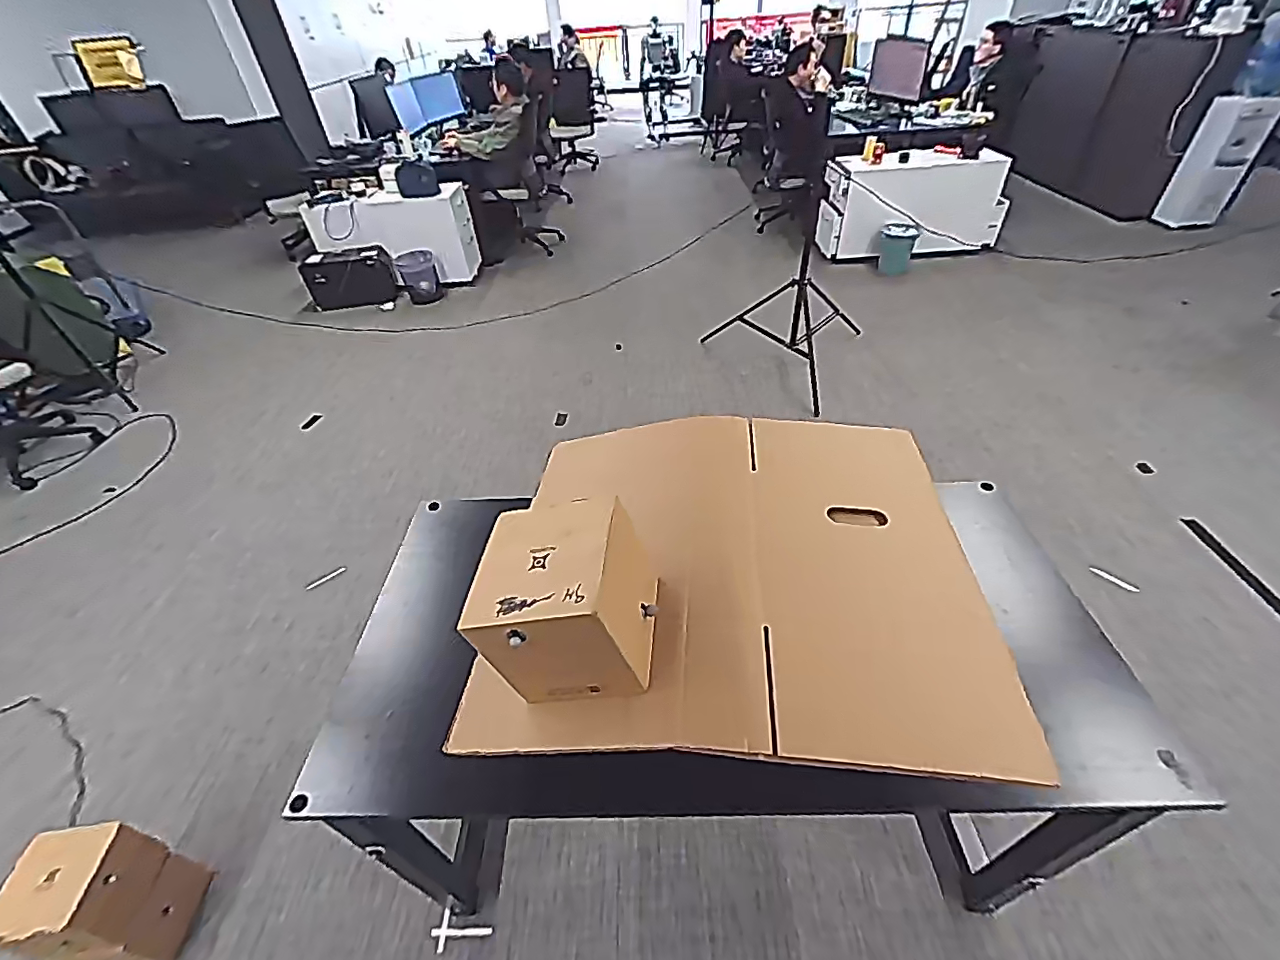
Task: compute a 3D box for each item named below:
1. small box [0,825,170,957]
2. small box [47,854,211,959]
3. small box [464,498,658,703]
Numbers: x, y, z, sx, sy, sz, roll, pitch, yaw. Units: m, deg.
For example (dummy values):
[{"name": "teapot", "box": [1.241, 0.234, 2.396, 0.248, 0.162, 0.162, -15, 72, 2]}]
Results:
[{"name": "small box", "box": [-1.113, 0.829, 1.088, 0.168, 0.176, 0.179, -6, 40, -3]}, {"name": "small box", "box": [-1.101, 0.955, 1.190, 0.168, 0.176, 0.179, -5, 42, 0]}, {"name": "small box", "box": [-0.081, 0.151, 0.671, 0.168, 0.176, 0.179, -12, 38, 17]}]
